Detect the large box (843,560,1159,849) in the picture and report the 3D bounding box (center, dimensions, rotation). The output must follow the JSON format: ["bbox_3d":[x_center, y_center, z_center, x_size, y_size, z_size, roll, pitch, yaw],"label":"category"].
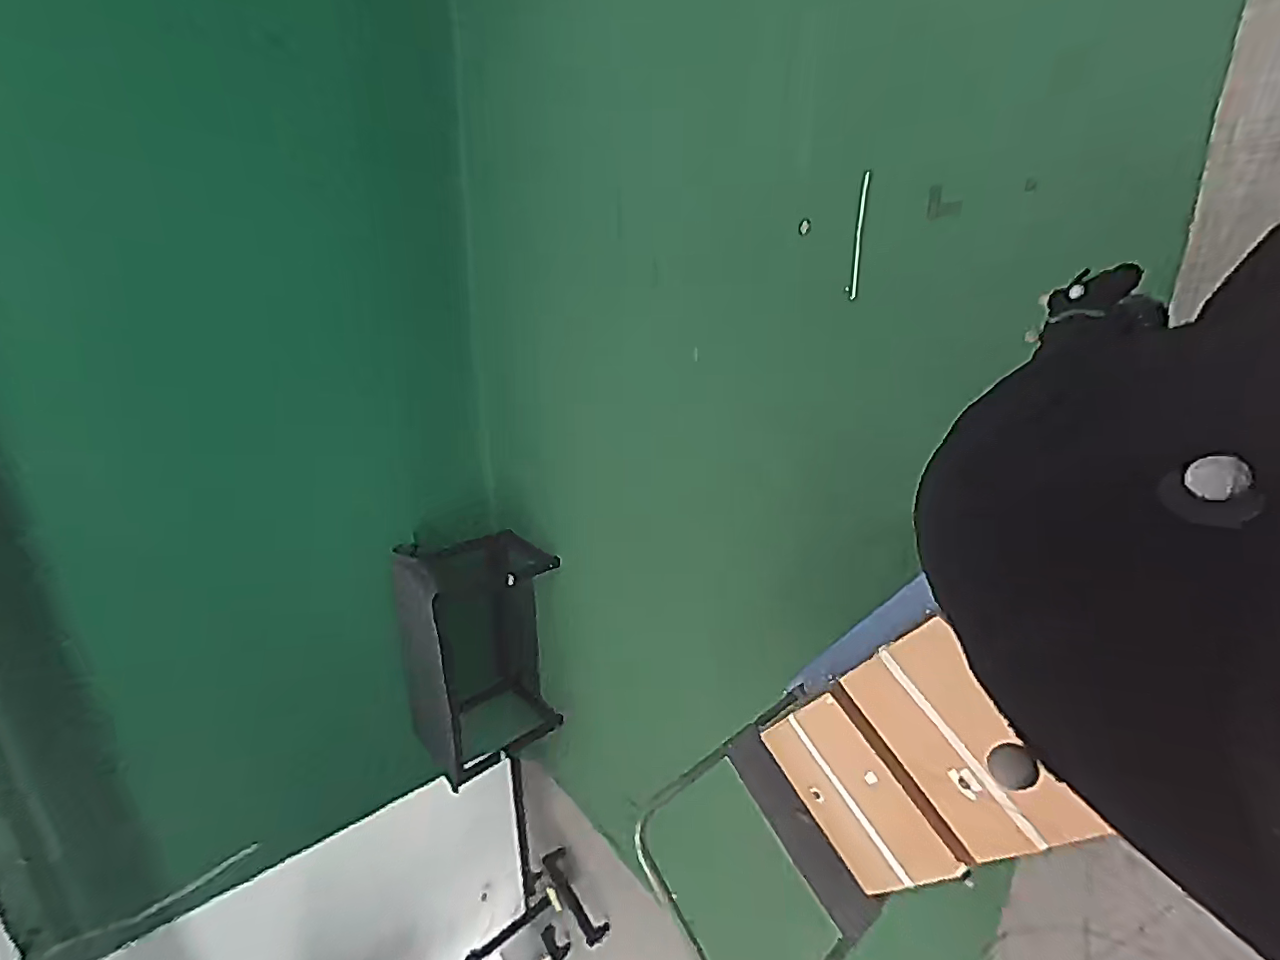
[{"bbox_3d":[0.726,0.443,1.123,0.408,0.320,0.320,54,137,24],"label":"large box"}]
